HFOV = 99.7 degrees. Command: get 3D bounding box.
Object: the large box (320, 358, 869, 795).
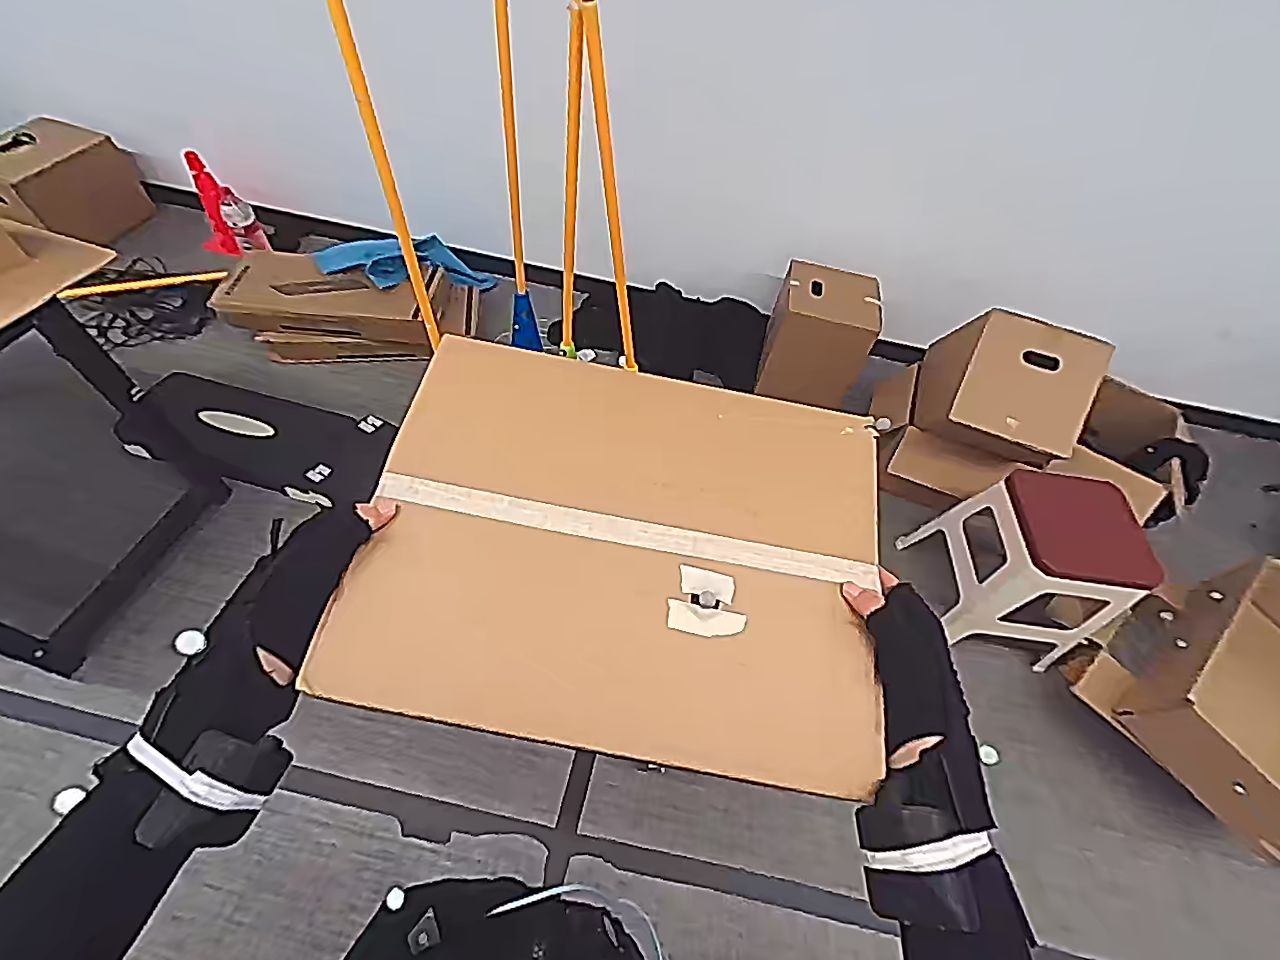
[{"bbox_3d":[-0.023,0.117,0.578,0.408,0.320,0.320,11,65,-1],"label":"large box"}]
